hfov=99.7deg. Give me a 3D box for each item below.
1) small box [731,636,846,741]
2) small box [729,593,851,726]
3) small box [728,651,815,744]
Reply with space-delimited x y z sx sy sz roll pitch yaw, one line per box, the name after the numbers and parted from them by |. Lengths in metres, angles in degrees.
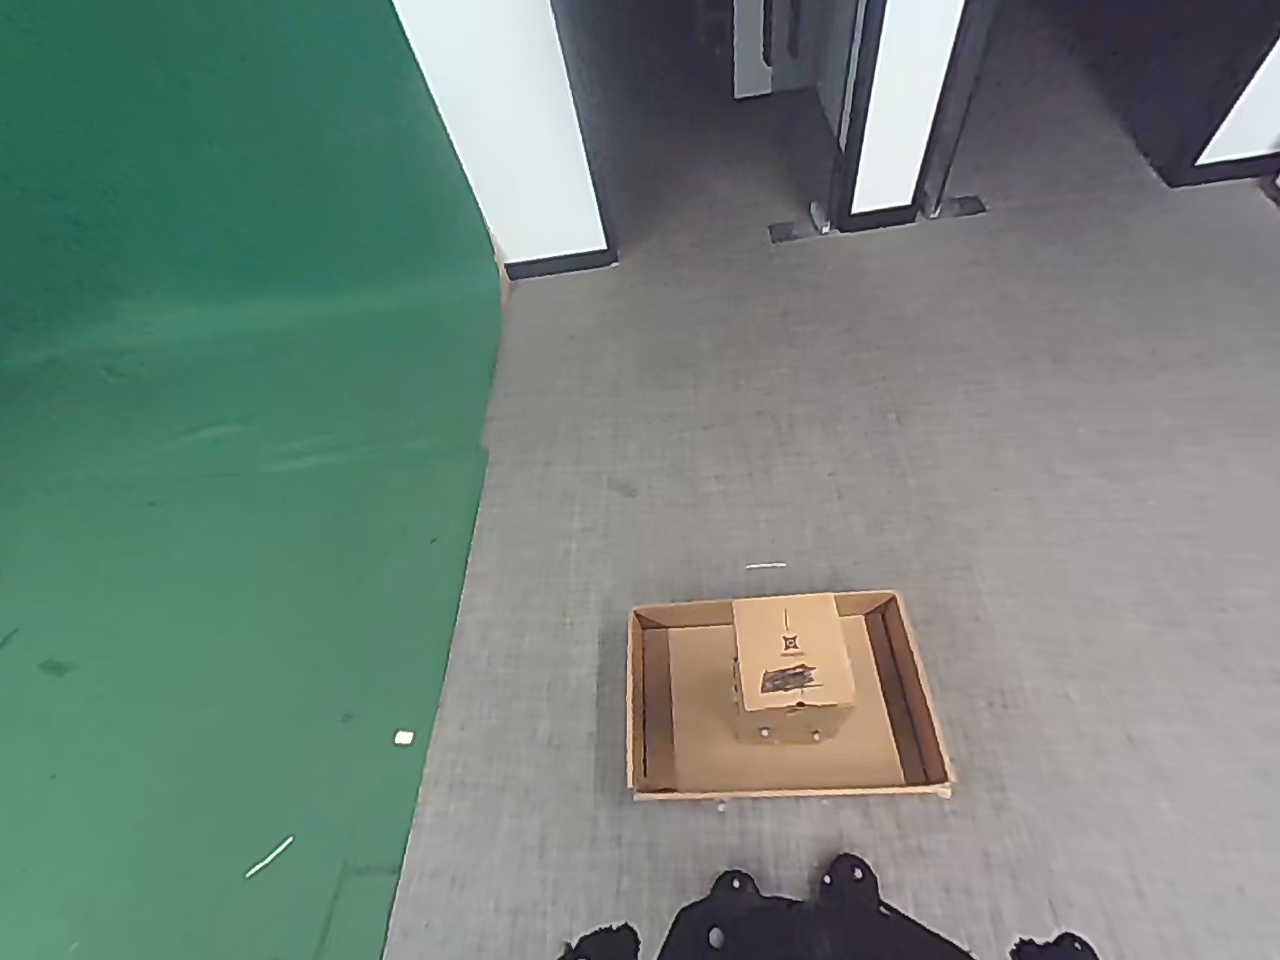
0.271 0.391 1.031 0.179 0.176 0.168 -8 55 5 | small box
0.243 0.308 0.911 0.168 0.176 0.179 -6 54 7 | small box
0.295 0.475 1.190 0.179 0.176 0.168 -7 55 6 | small box
